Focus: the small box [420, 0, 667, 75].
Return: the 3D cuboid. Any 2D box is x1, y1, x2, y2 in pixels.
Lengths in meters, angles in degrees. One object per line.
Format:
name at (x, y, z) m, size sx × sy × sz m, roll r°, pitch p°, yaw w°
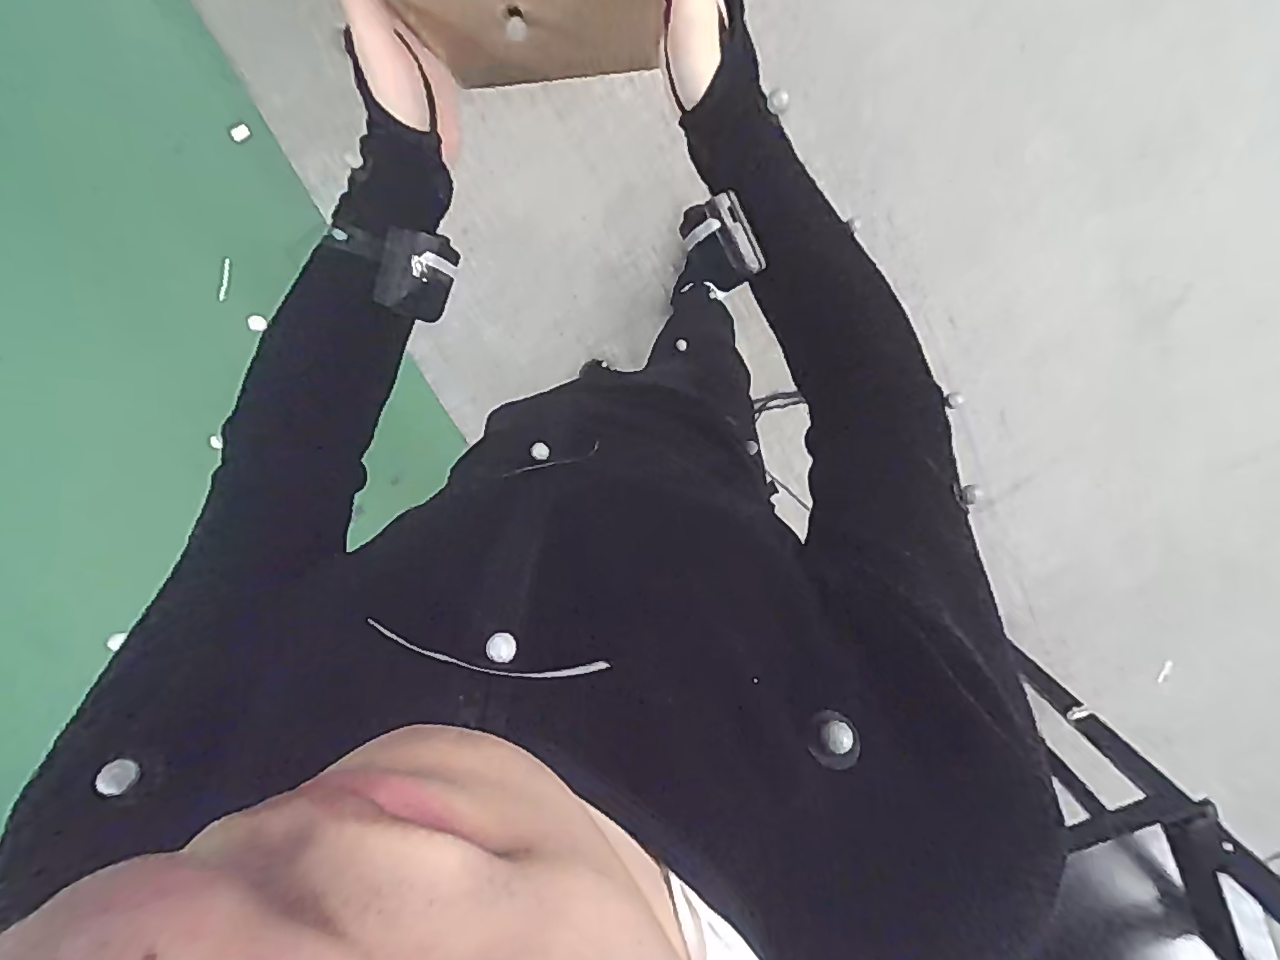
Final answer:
small box at (-0.071, -0.402, 0.358) m, size 0.179 × 0.176 × 0.168 m, roll -3°, pitch 104°, yaw 2°
